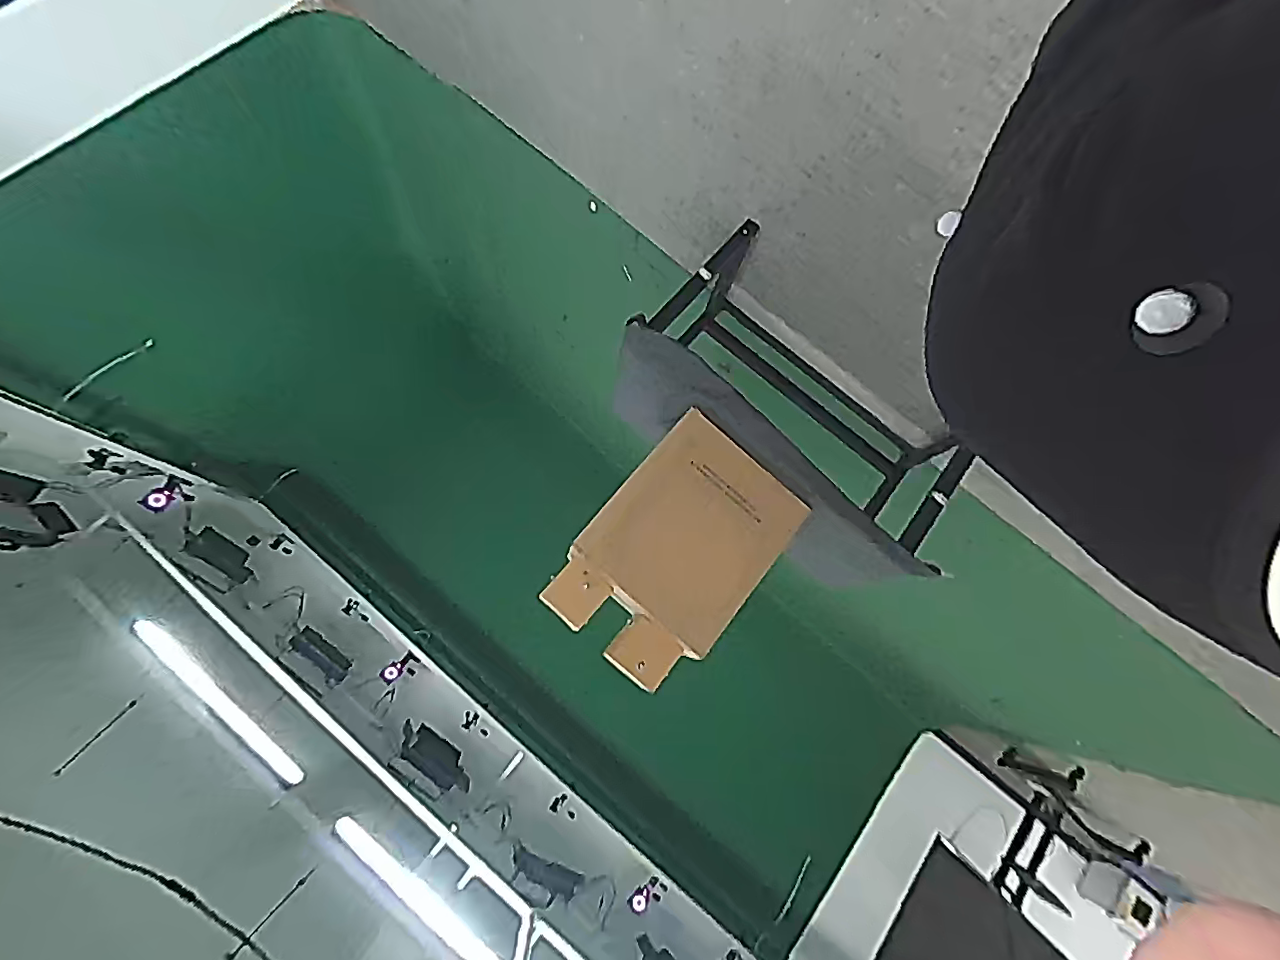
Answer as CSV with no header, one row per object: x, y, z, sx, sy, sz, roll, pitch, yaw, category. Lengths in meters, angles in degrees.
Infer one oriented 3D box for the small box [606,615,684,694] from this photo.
0.017,0.562,1.756,0.179,0.176,0.168,42,160,1,small box

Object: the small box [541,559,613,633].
-0.206,0.380,1.775,0.168,0.176,0.179,42,161,1,small box
